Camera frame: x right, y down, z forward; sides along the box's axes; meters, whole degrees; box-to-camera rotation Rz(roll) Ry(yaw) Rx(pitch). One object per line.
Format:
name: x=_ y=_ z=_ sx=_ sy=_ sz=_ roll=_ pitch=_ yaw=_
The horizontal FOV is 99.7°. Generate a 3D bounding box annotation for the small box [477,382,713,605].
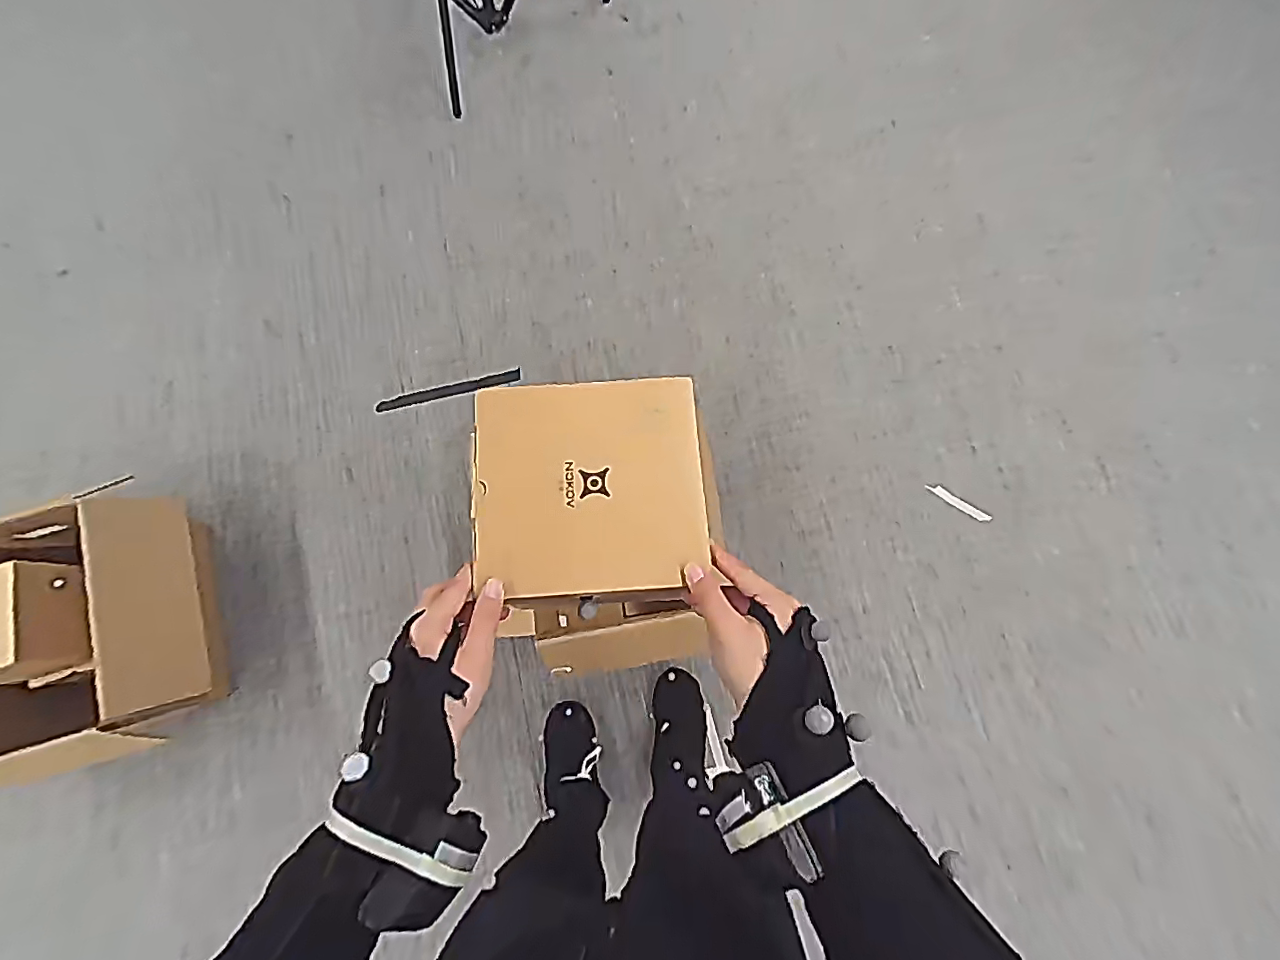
small box: x=-0.038 y=0.024 z=0.493 sx=0.179 sy=0.176 sz=0.168 roll=-4 pitch=75 yaw=-1
